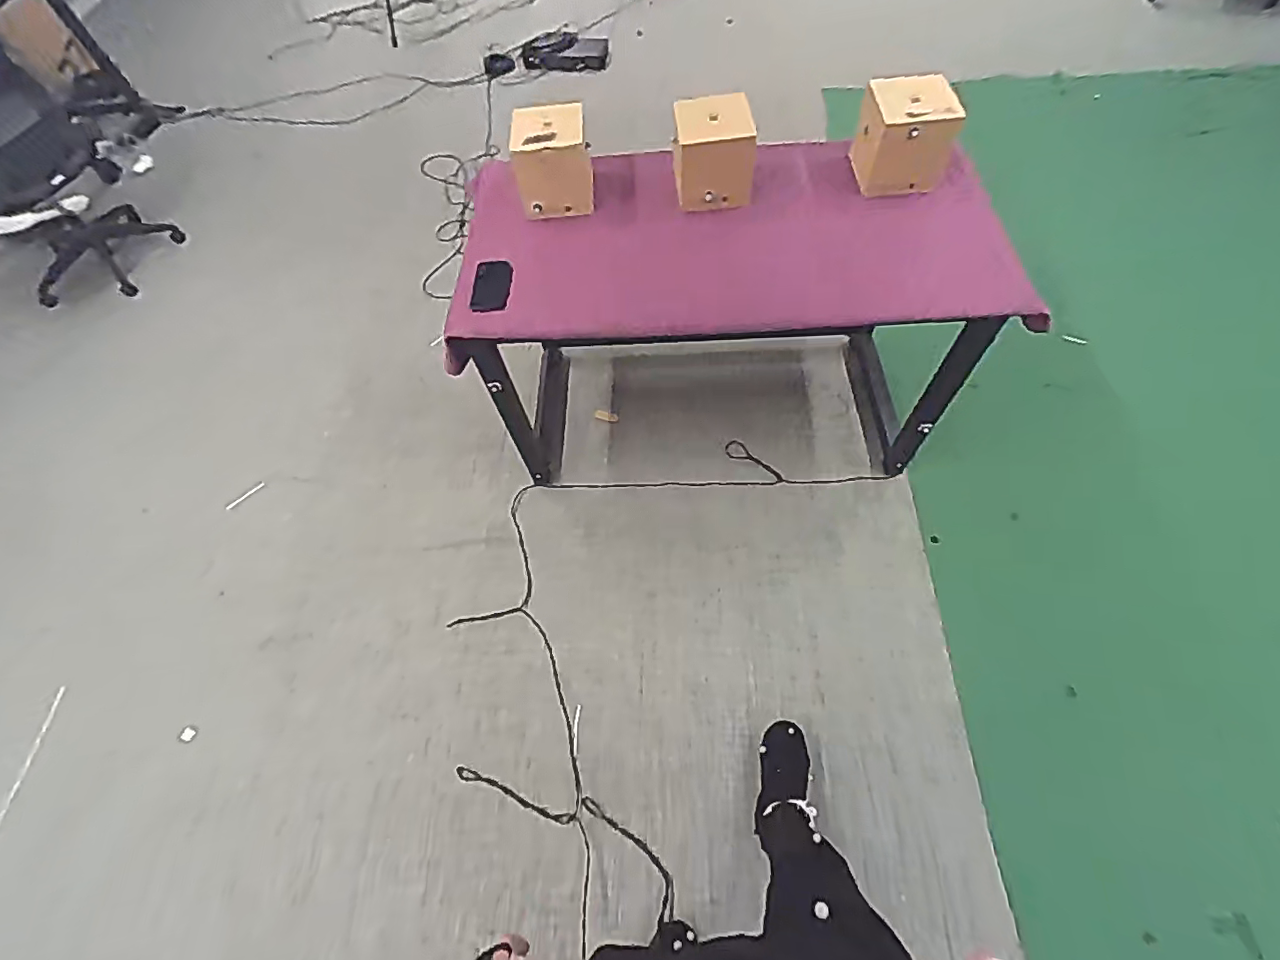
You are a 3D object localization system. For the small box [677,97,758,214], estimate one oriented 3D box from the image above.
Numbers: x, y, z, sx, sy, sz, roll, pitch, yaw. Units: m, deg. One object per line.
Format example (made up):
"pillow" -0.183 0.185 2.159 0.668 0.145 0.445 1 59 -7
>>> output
"small box" 0.174 -0.753 1.261 0.168 0.176 0.179 -5 61 3

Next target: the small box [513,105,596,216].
"small box" -0.196 -0.751 1.289 0.168 0.176 0.179 -4 60 2

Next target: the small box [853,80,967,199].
"small box" 0.602 -0.774 1.235 0.168 0.176 0.179 -3 60 4
